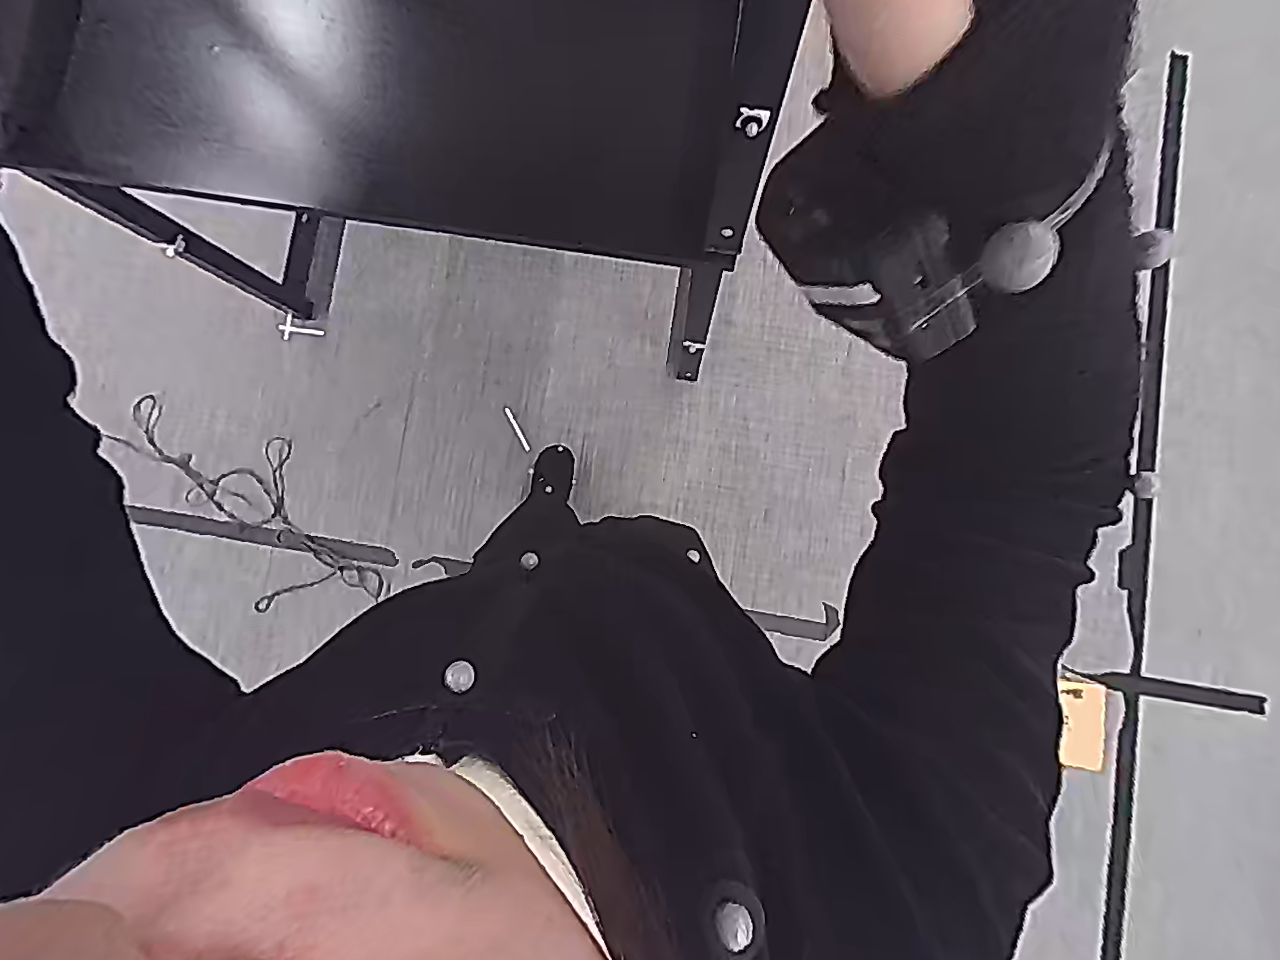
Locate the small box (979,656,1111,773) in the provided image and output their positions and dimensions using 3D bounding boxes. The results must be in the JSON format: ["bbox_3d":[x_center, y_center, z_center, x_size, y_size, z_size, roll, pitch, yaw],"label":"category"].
[{"bbox_3d":[0.875,0.506,1.186,0.168,0.176,0.179,6,87,2],"label":"small box"}]
